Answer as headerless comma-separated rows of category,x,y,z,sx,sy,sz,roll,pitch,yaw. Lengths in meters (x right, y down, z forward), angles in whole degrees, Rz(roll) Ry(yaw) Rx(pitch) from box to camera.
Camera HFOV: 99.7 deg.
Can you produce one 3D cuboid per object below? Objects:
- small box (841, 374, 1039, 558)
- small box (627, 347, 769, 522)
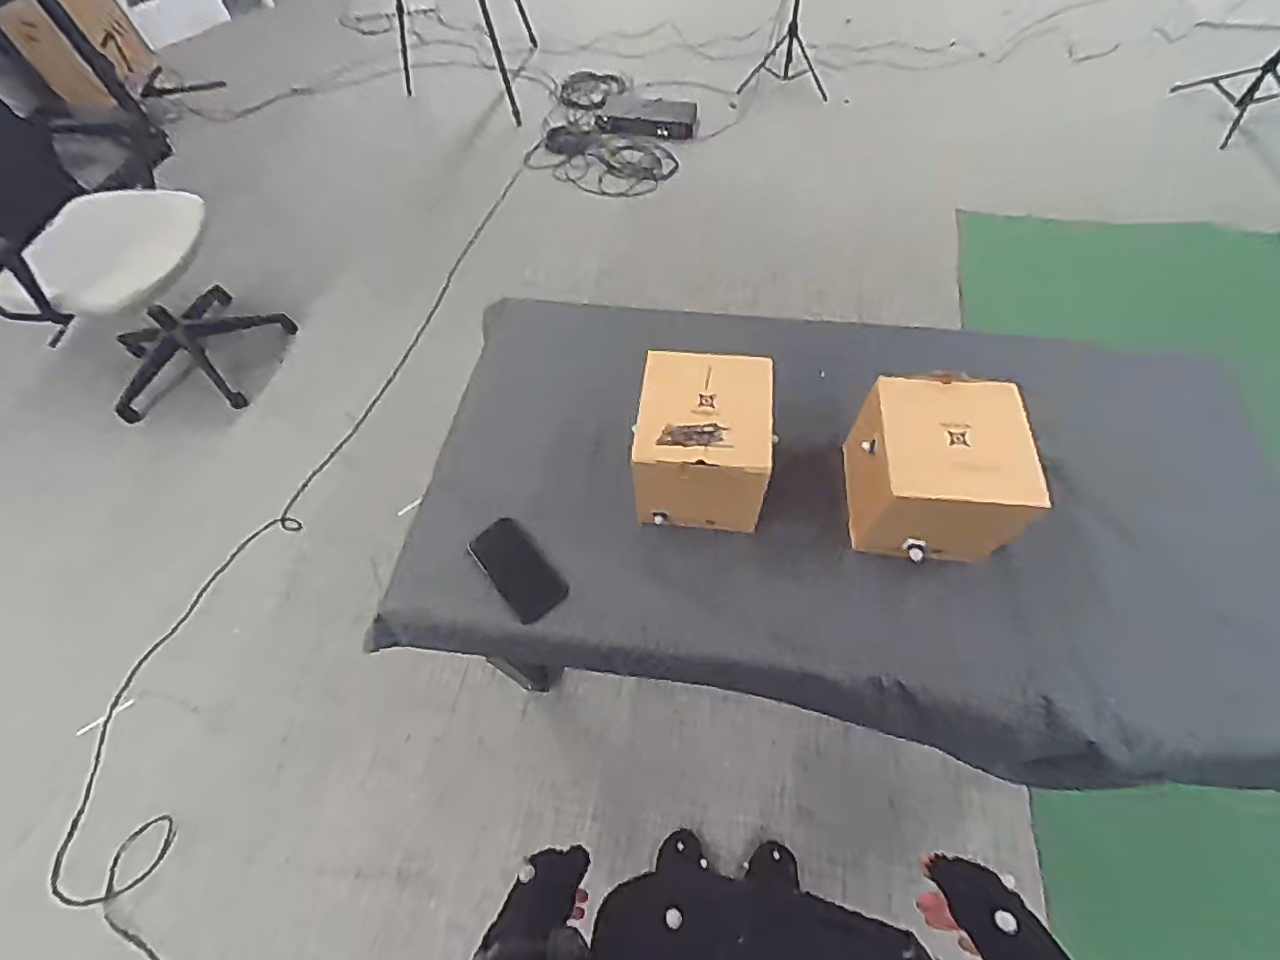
small box,0.371,-0.015,0.709,0.168,0.176,0.179,4,61,6
small box,0.080,-0.057,0.743,0.168,0.176,0.179,6,60,5
